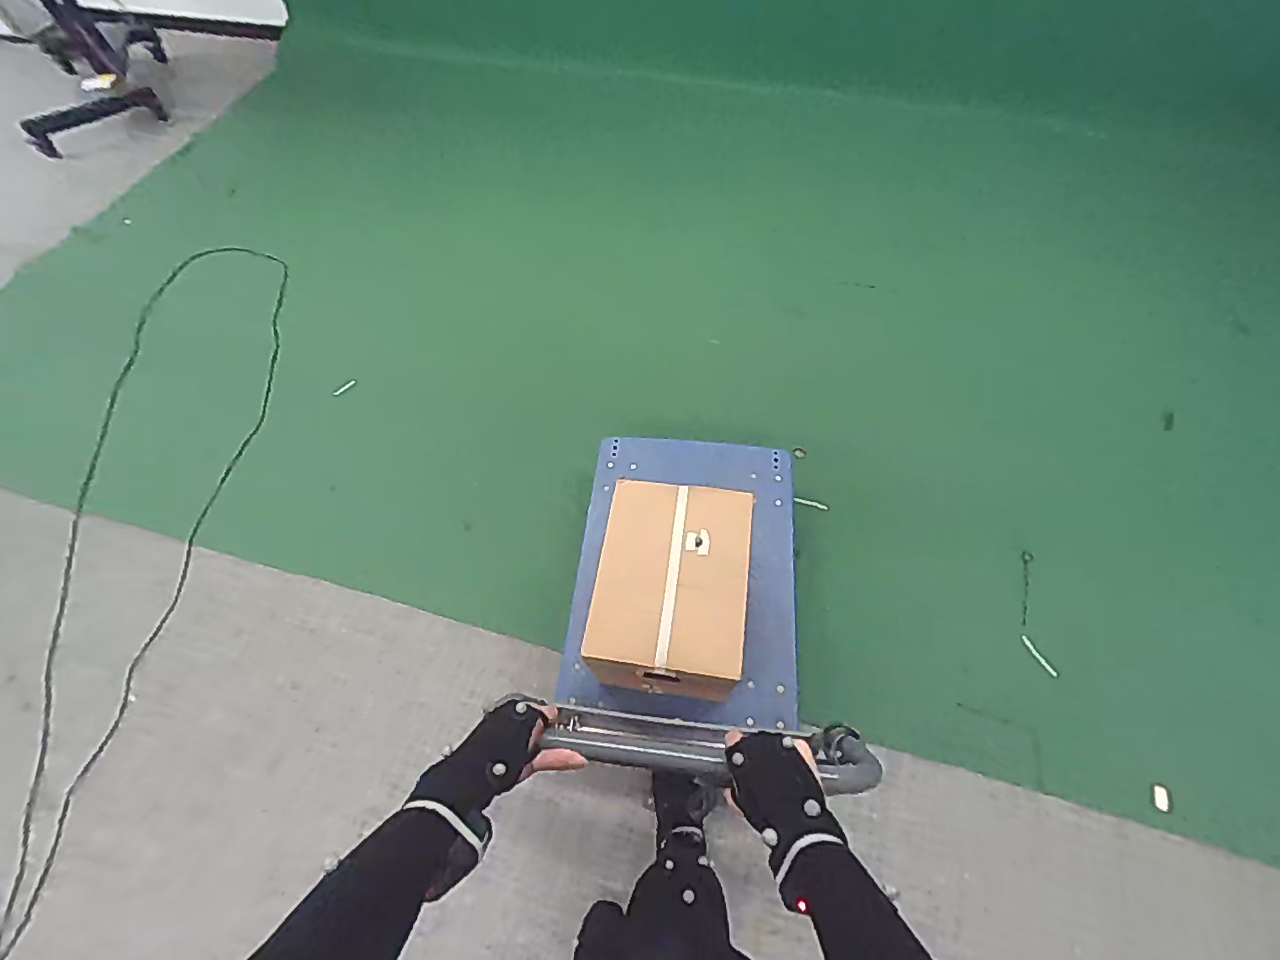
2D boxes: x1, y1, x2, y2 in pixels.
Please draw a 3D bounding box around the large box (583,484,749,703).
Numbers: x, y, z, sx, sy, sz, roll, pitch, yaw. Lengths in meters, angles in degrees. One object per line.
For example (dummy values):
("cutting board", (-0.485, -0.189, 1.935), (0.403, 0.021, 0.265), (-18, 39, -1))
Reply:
("large box", (0.074, 0.270, 1.260), (0.320, 0.320, 0.408), (7, 60, 7))
